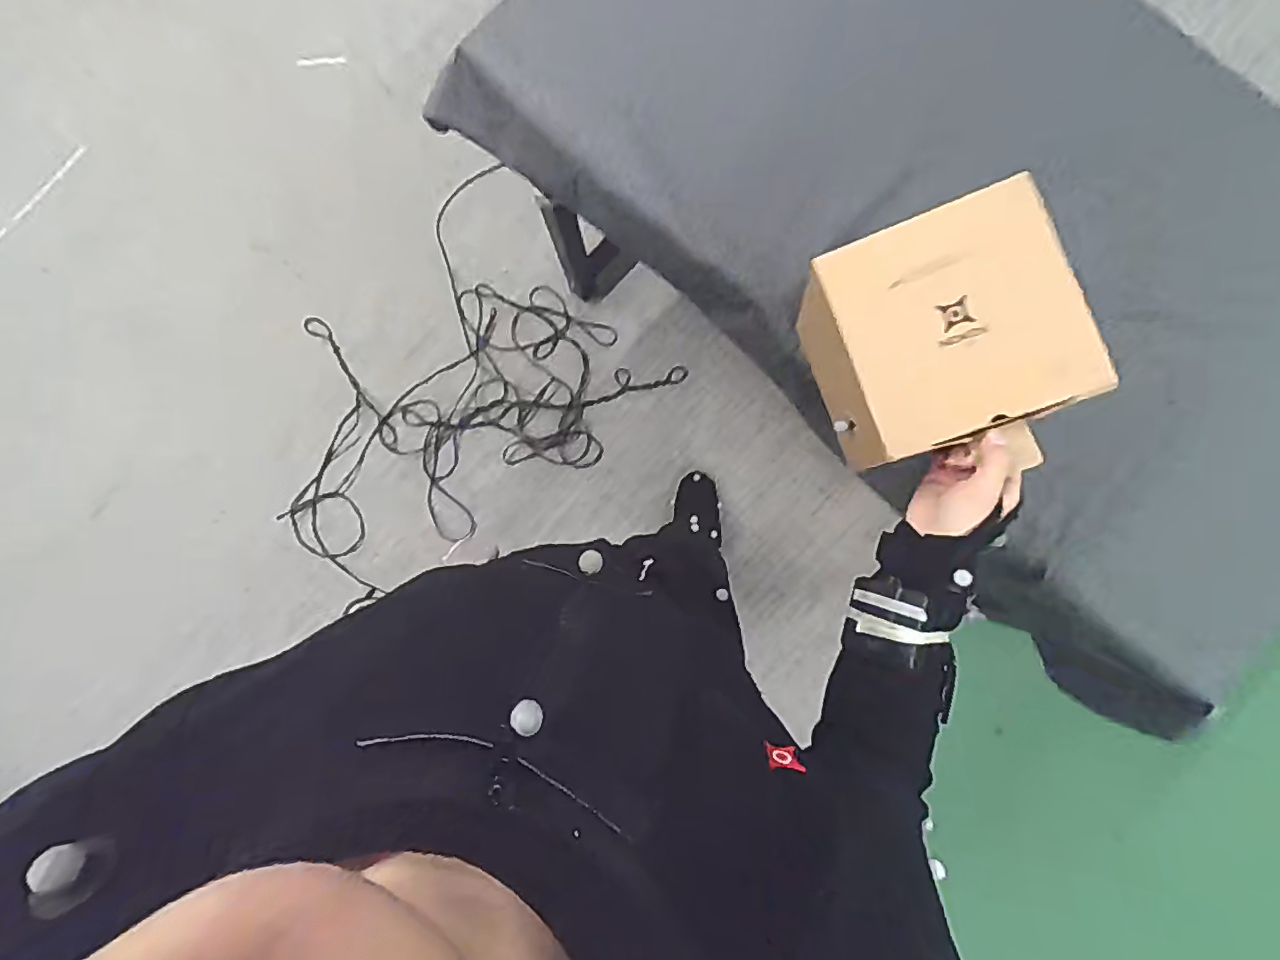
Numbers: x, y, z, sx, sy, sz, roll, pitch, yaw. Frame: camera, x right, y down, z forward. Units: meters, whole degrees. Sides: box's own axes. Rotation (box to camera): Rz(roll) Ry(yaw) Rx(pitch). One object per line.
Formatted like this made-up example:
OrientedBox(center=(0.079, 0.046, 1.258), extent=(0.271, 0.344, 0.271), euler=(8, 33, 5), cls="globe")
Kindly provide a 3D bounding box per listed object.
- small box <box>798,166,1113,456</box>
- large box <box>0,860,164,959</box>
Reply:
OrientedBox(center=(0.256, -0.128, 0.492), extent=(0.168, 0.176, 0.179), euler=(-22, 83, 10), cls="small box")
OrientedBox(center=(-1.387, 1.169, 1.181), extent=(0.408, 0.320, 0.320), euler=(40, 87, 5), cls="large box")
